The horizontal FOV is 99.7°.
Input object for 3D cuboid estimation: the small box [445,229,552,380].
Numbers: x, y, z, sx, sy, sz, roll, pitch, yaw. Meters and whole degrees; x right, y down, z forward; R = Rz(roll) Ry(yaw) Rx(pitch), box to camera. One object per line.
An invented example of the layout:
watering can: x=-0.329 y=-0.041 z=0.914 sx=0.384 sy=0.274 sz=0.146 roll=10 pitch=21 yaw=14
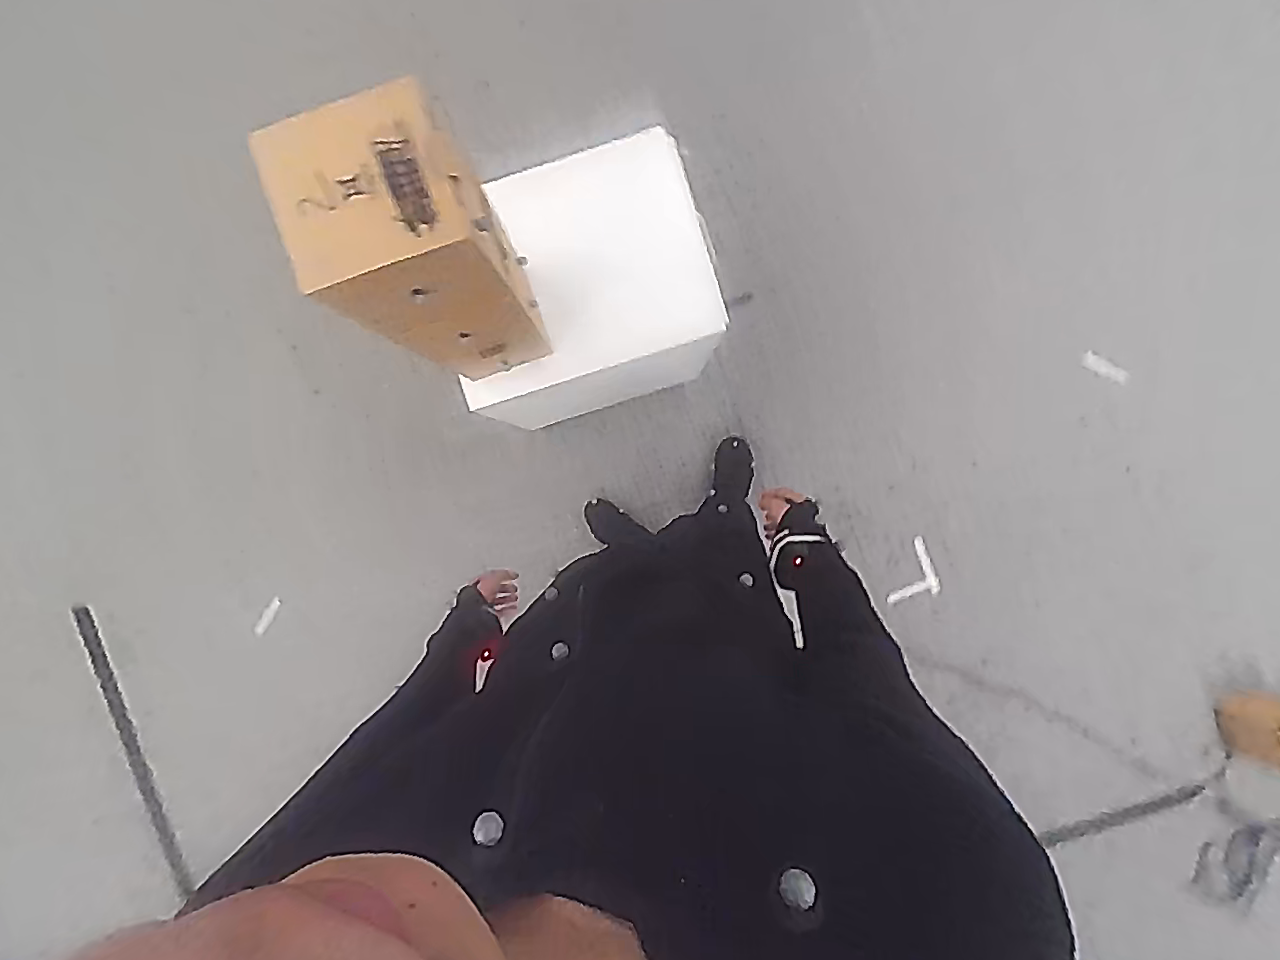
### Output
small box: x=-0.265 y=-0.288 z=0.925 sx=0.168 sy=0.176 sz=0.179 roll=-19 pitch=91 yaw=1

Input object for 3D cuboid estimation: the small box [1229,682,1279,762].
small box: x=1.854 y=0.698 z=1.536 sx=0.168 sy=0.176 sz=0.179 roll=-21 pitch=93 yaw=1

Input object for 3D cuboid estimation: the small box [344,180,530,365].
small box: x=-0.267 y=-0.277 z=0.761 sx=0.179 sy=0.176 sz=0.168 roll=-19 pitch=91 yaw=2
